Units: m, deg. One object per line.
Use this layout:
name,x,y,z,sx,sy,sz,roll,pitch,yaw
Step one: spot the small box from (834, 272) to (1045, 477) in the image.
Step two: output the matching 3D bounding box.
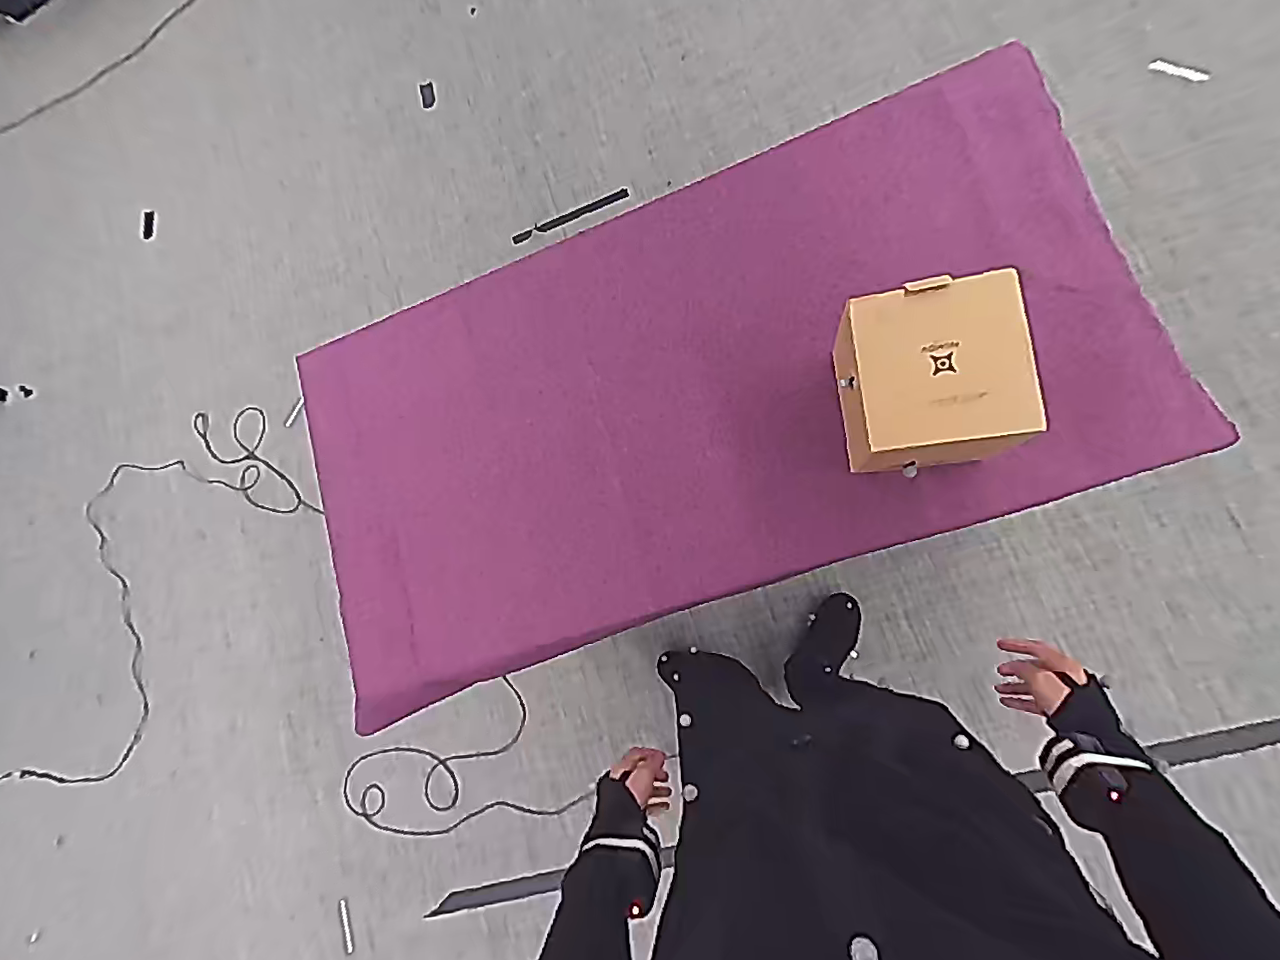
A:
small box,0.329,-0.109,0.633,0.168,0.176,0.179,-7,80,14
